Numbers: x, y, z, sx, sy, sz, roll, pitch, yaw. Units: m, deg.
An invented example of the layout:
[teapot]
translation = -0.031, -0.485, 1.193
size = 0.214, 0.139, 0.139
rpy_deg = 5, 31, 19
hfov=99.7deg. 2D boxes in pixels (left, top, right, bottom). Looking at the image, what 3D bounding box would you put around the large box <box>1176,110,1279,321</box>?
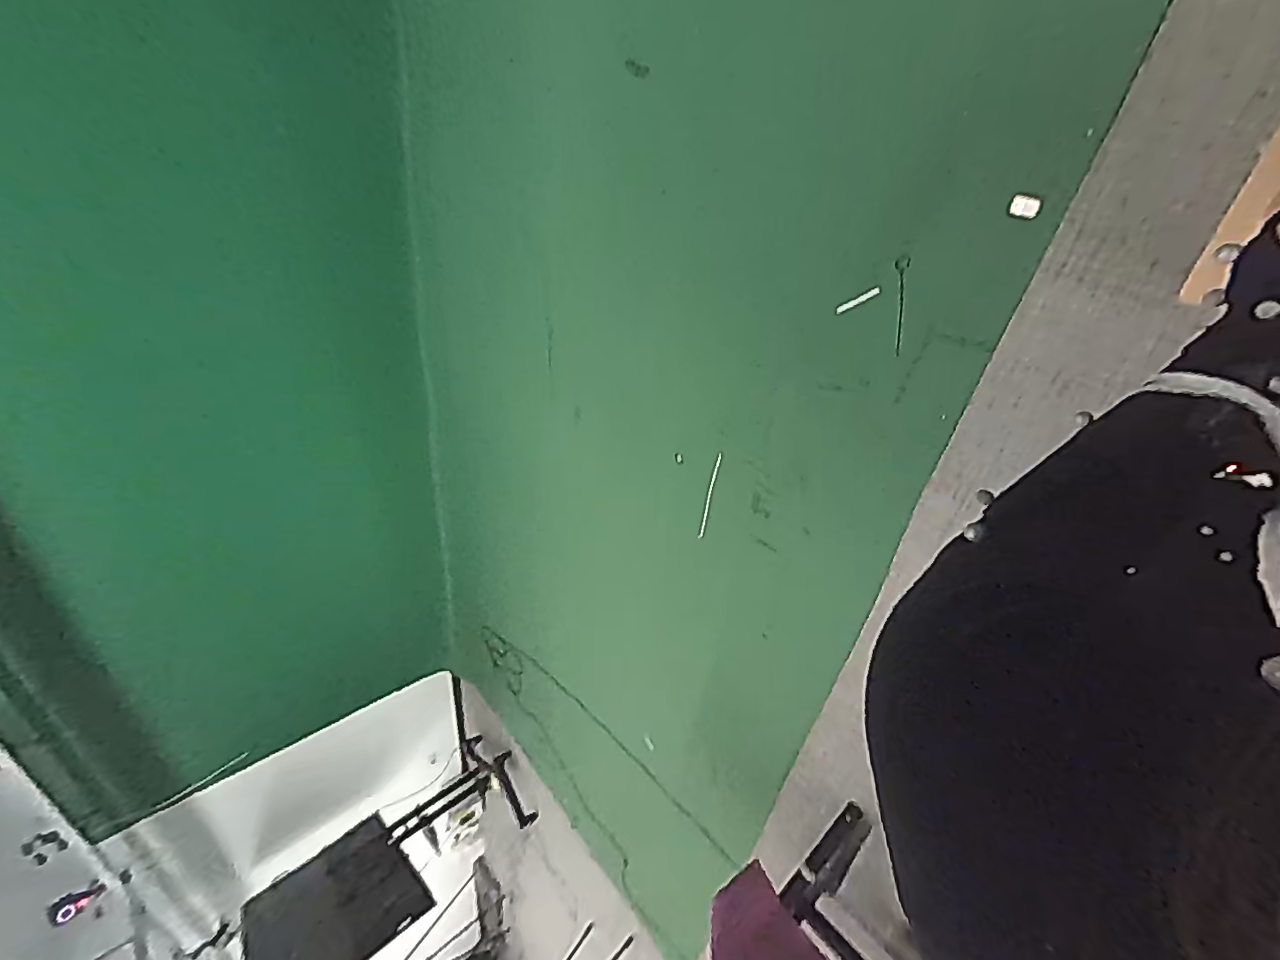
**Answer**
[large box]
translation = 0.979, -0.393, 0.659
size = 0.320, 0.320, 0.408
rpy_deg = 34, 129, 37
